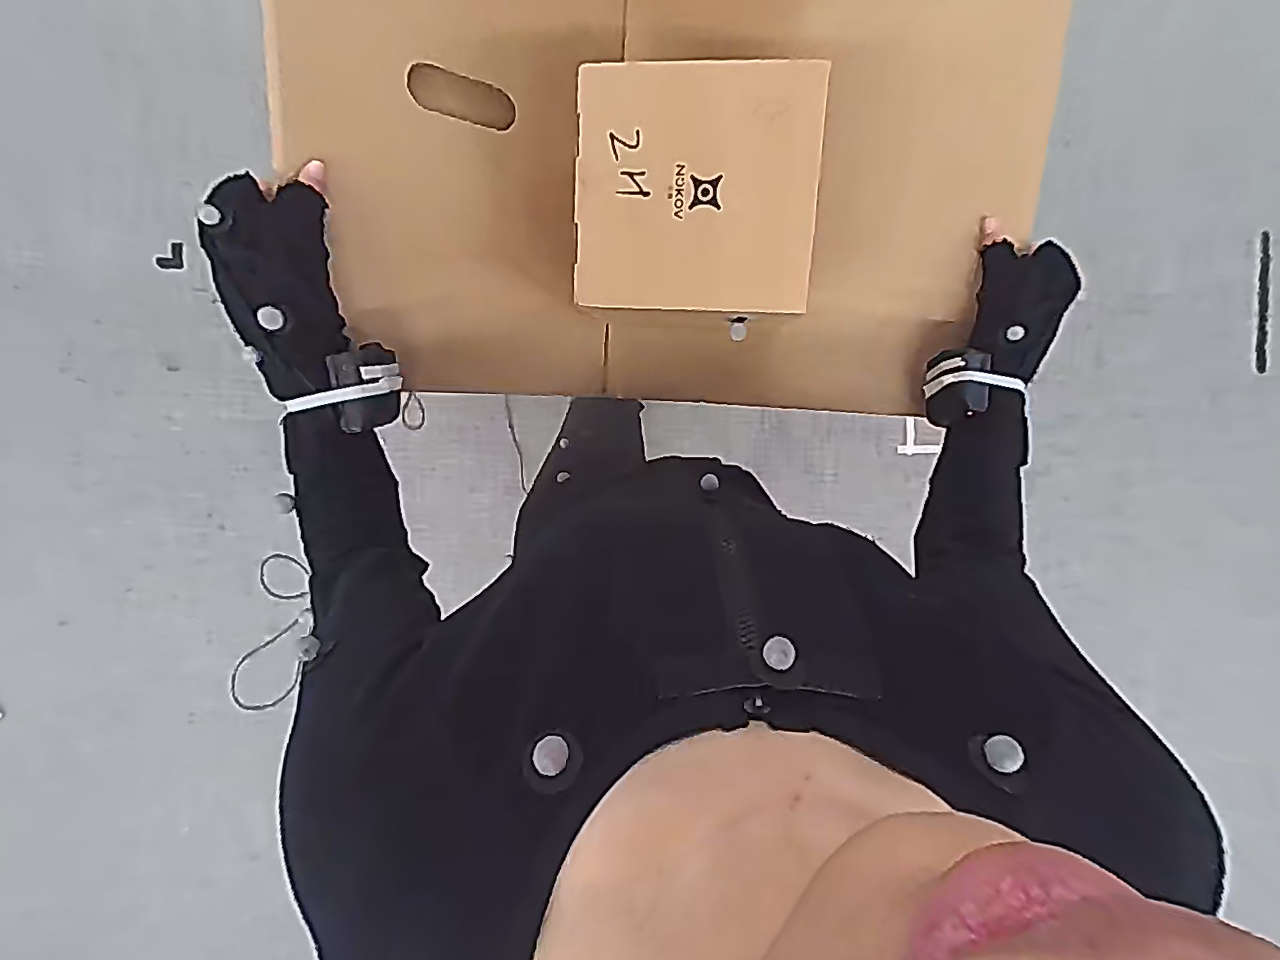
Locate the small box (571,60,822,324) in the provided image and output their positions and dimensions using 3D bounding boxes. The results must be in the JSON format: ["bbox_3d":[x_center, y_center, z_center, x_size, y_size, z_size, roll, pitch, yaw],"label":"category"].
[{"bbox_3d":[0.045,-0.232,0.476,0.179,0.176,0.168,4,101,7],"label":"small box"}]
